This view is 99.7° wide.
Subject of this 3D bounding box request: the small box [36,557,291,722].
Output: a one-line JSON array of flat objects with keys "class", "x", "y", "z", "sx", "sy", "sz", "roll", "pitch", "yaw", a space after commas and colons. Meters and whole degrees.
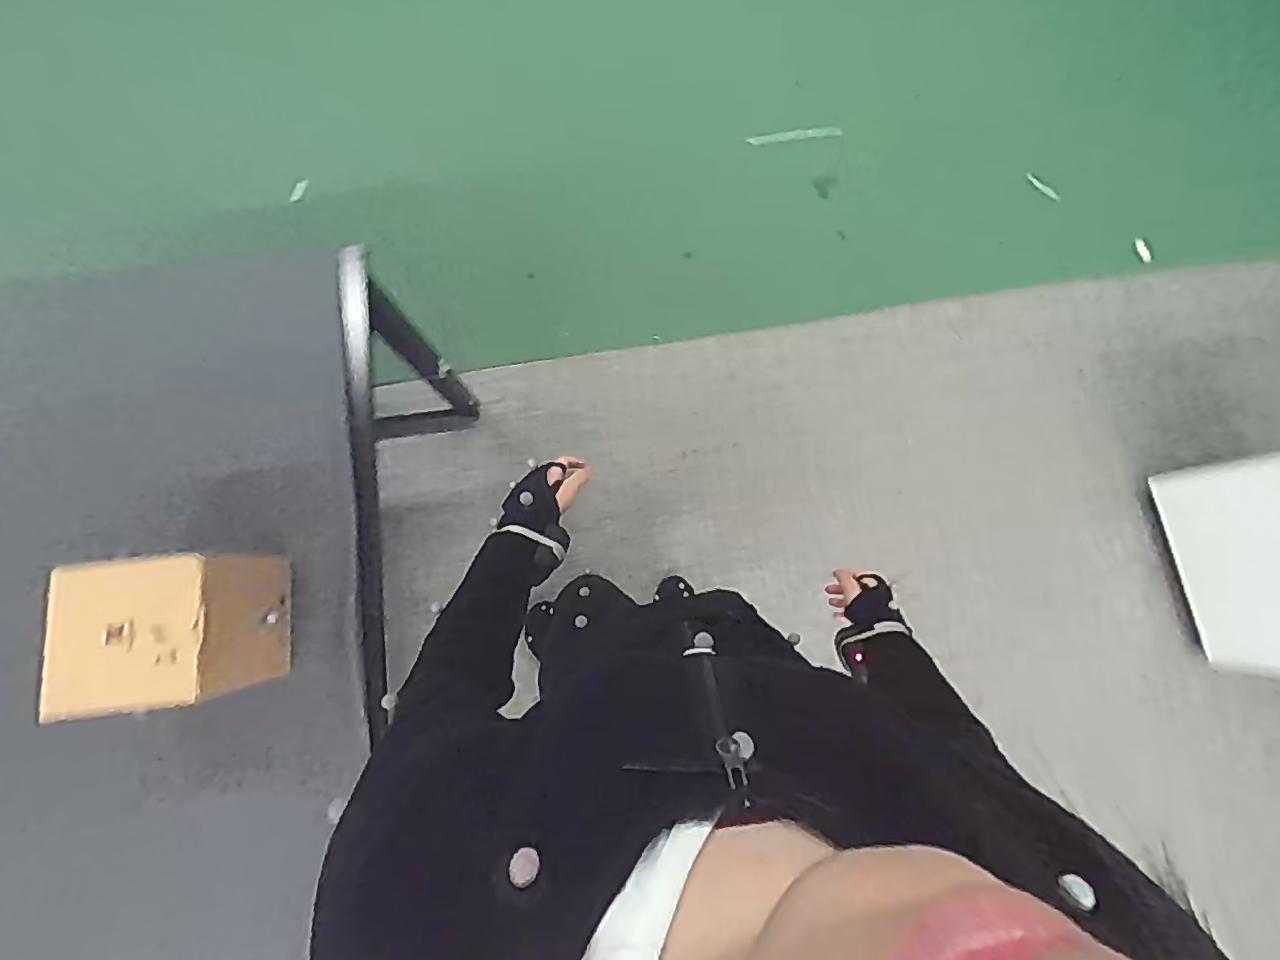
[{"class": "small box", "x": -0.582, "y": 0.193, "z": 0.685, "sx": 0.179, "sy": 0.176, "sz": 0.168, "roll": -7, "pitch": 80, "yaw": -2}]
